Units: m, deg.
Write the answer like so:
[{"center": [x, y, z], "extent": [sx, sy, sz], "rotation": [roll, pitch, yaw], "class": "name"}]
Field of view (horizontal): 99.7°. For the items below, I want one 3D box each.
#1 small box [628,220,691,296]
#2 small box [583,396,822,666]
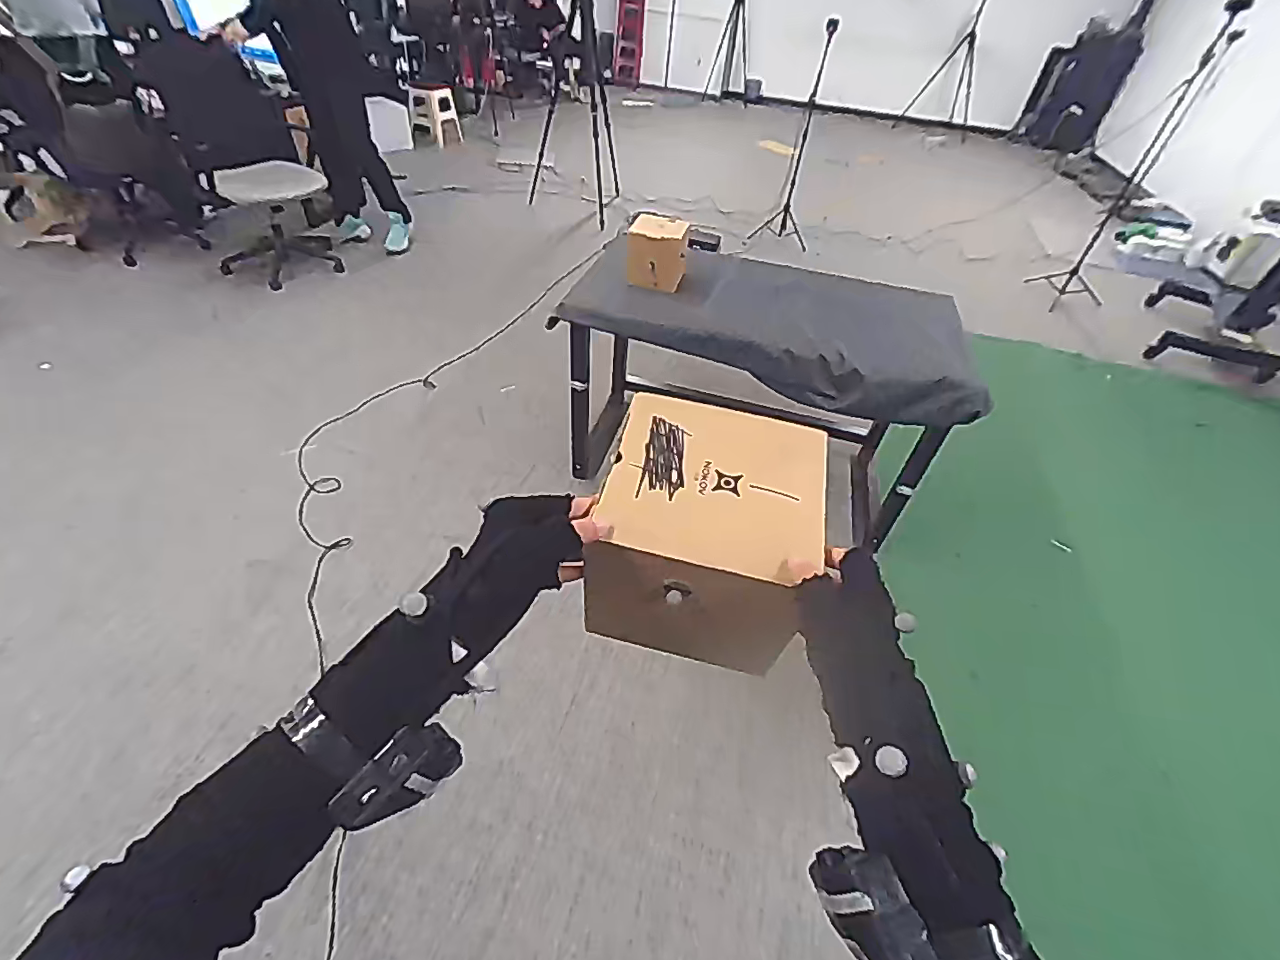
[{"center": [0.061, -0.716, 1.745], "extent": [0.168, 0.176, 0.179], "rotation": [13, 44, 8], "class": "small box"}, {"center": [0.054, 0.051, 0.500], "extent": [0.179, 0.176, 0.168], "rotation": [13, 51, 5], "class": "small box"}]
